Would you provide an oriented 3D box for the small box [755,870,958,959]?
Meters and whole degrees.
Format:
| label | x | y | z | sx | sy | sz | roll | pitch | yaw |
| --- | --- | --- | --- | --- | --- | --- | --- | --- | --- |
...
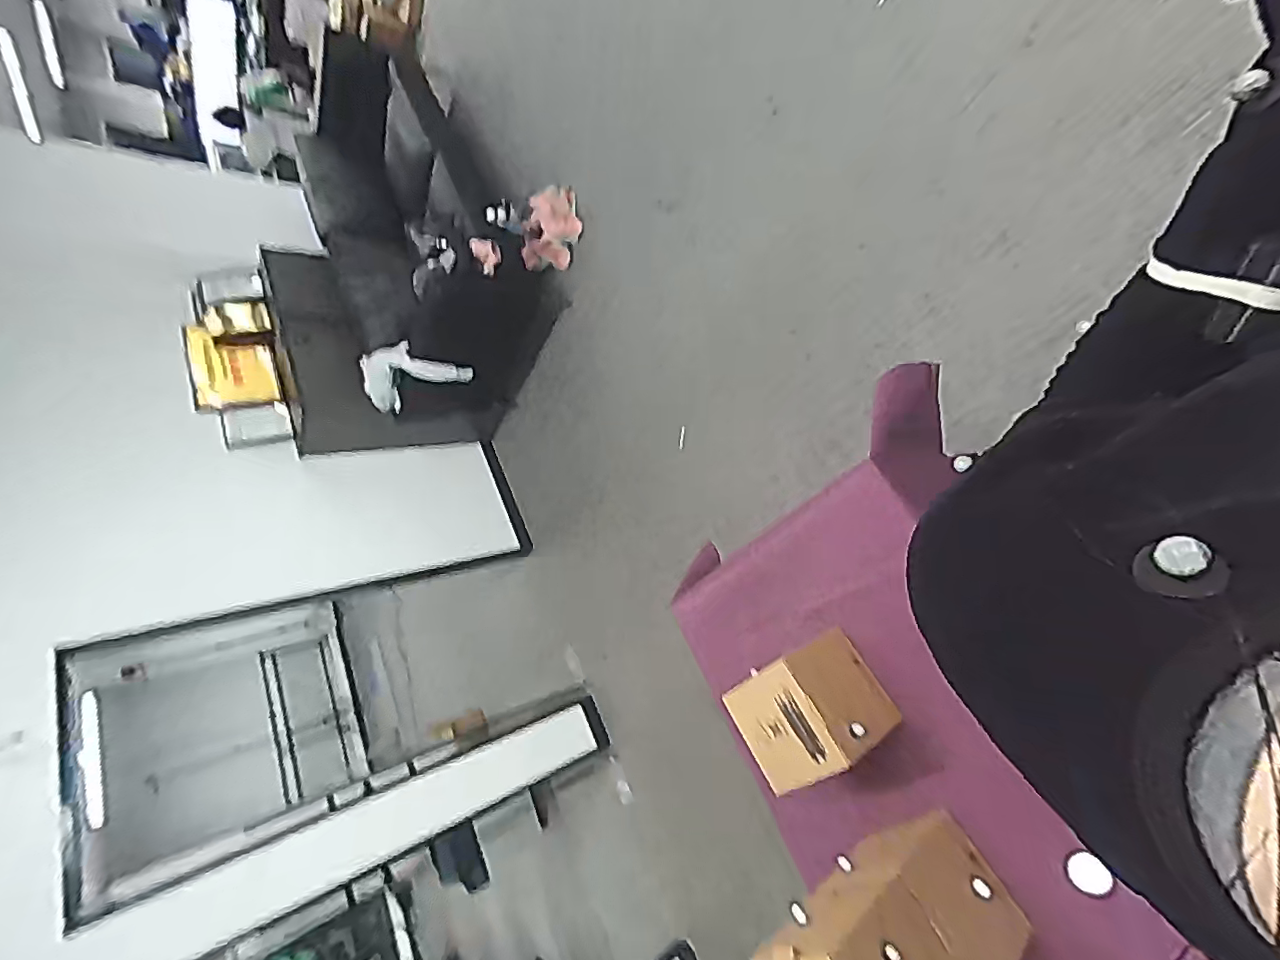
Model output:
| label | x | y | z | sx | sy | sz | roll | pitch | yaw |
| --- | --- | --- | --- | --- | --- | --- | --- | --- | --- |
| small box | 0.290 | 0.638 | 0.693 | 0.179 | 0.176 | 0.168 | 58 | 136 | 25 |

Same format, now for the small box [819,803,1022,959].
| label | x | y | z | sx | sy | sz | roll | pitch | yaw |
| --- | --- | --- | --- | --- | --- | --- | --- | --- | --- |
| small box | 0.413 | 0.618 | 0.800 | 0.168 | 0.176 | 0.179 | 57 | 134 | 26 |
